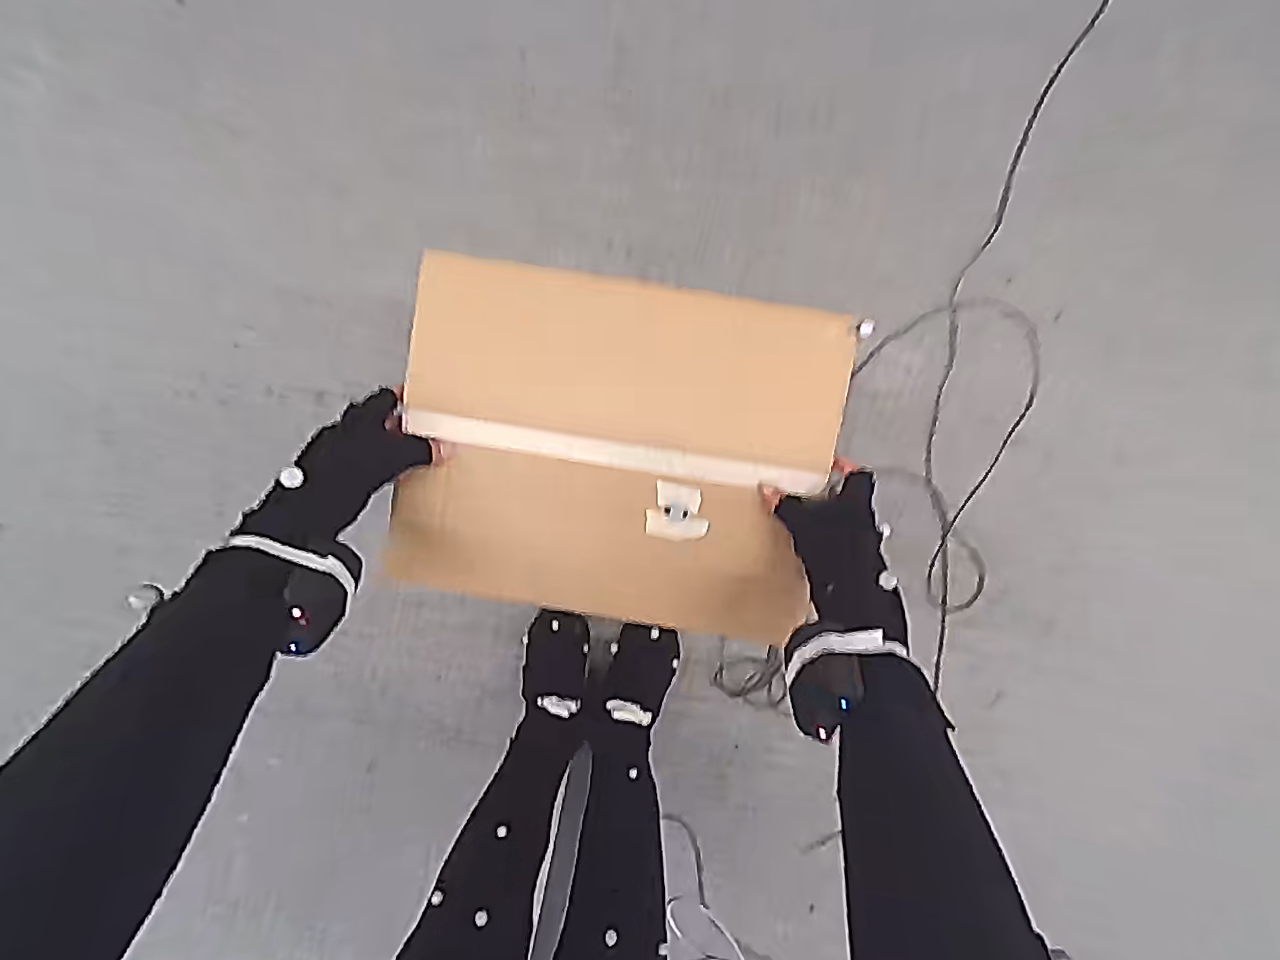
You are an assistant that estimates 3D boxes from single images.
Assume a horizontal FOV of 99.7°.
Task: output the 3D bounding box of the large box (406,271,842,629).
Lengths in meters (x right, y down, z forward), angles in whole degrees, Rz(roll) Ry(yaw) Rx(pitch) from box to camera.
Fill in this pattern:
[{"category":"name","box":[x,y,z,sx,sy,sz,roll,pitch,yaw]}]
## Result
[{"category":"large box","box":[-0.020,-0.036,0.681,0.408,0.320,0.320,9,95,0]}]
